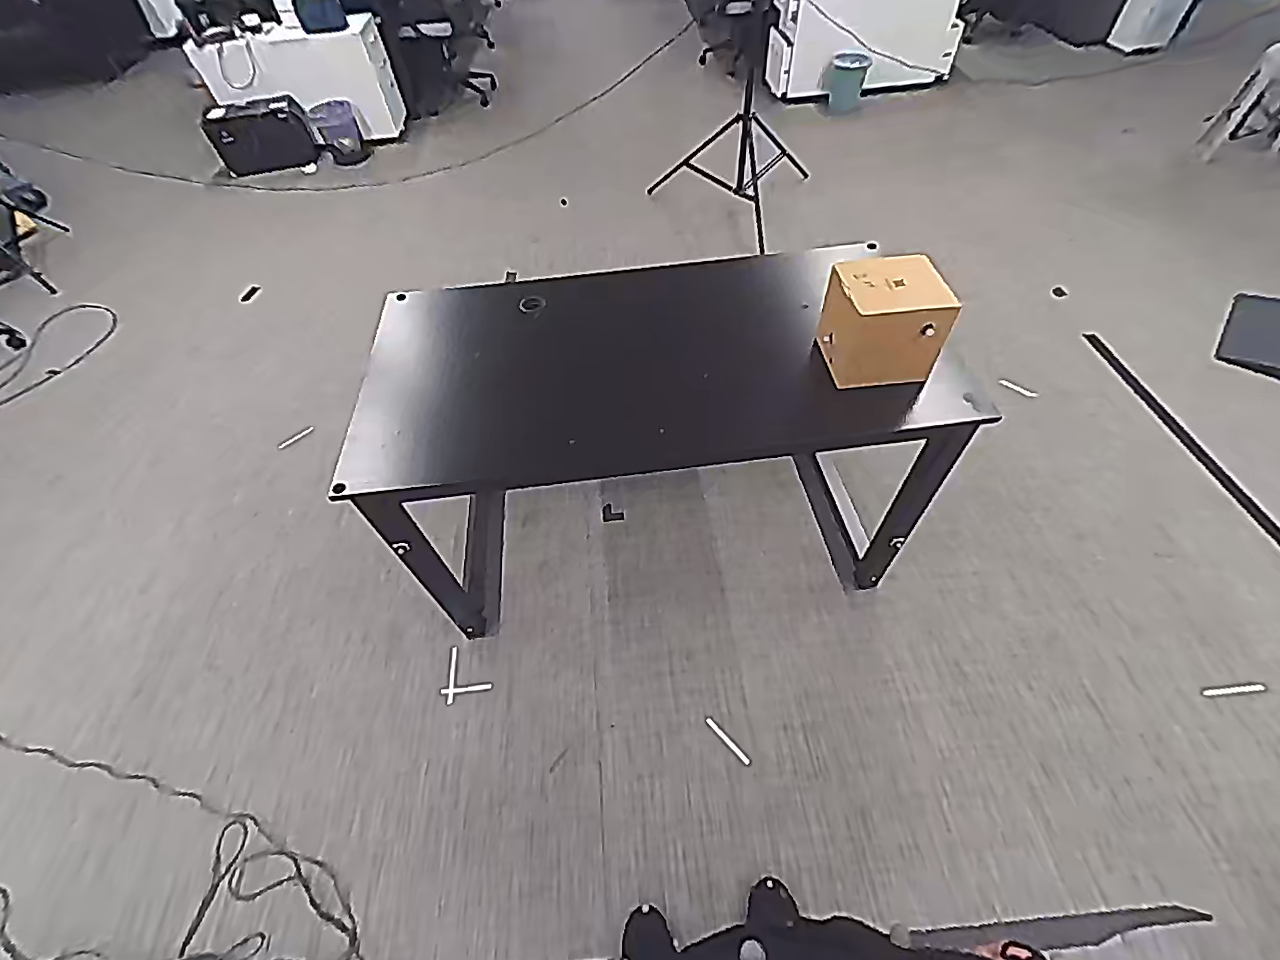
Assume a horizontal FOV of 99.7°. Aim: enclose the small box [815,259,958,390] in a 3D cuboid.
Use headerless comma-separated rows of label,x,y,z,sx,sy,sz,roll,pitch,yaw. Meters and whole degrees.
small box,0.451,-0.289,1.020,0.179,0.176,0.168,-5,52,1
